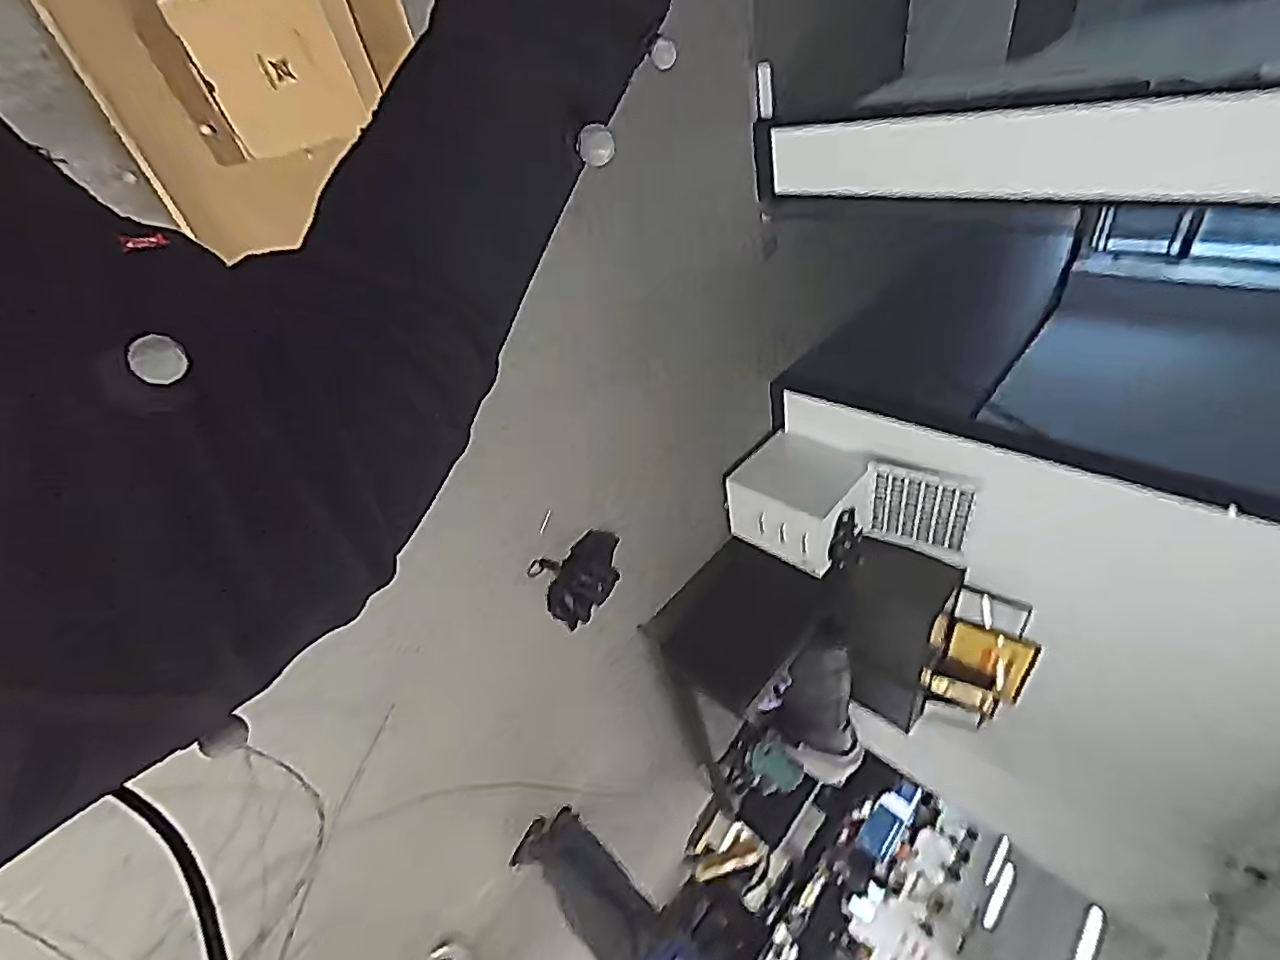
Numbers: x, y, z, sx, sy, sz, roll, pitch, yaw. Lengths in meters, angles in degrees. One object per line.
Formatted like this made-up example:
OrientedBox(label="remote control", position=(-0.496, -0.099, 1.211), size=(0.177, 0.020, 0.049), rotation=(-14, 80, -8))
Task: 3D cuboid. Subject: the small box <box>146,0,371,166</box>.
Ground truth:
OrientedBox(label="small box", position=(-0.511, -0.535, 0.726), size=(0.179, 0.176, 0.168), rotation=(-42, 138, -29))
